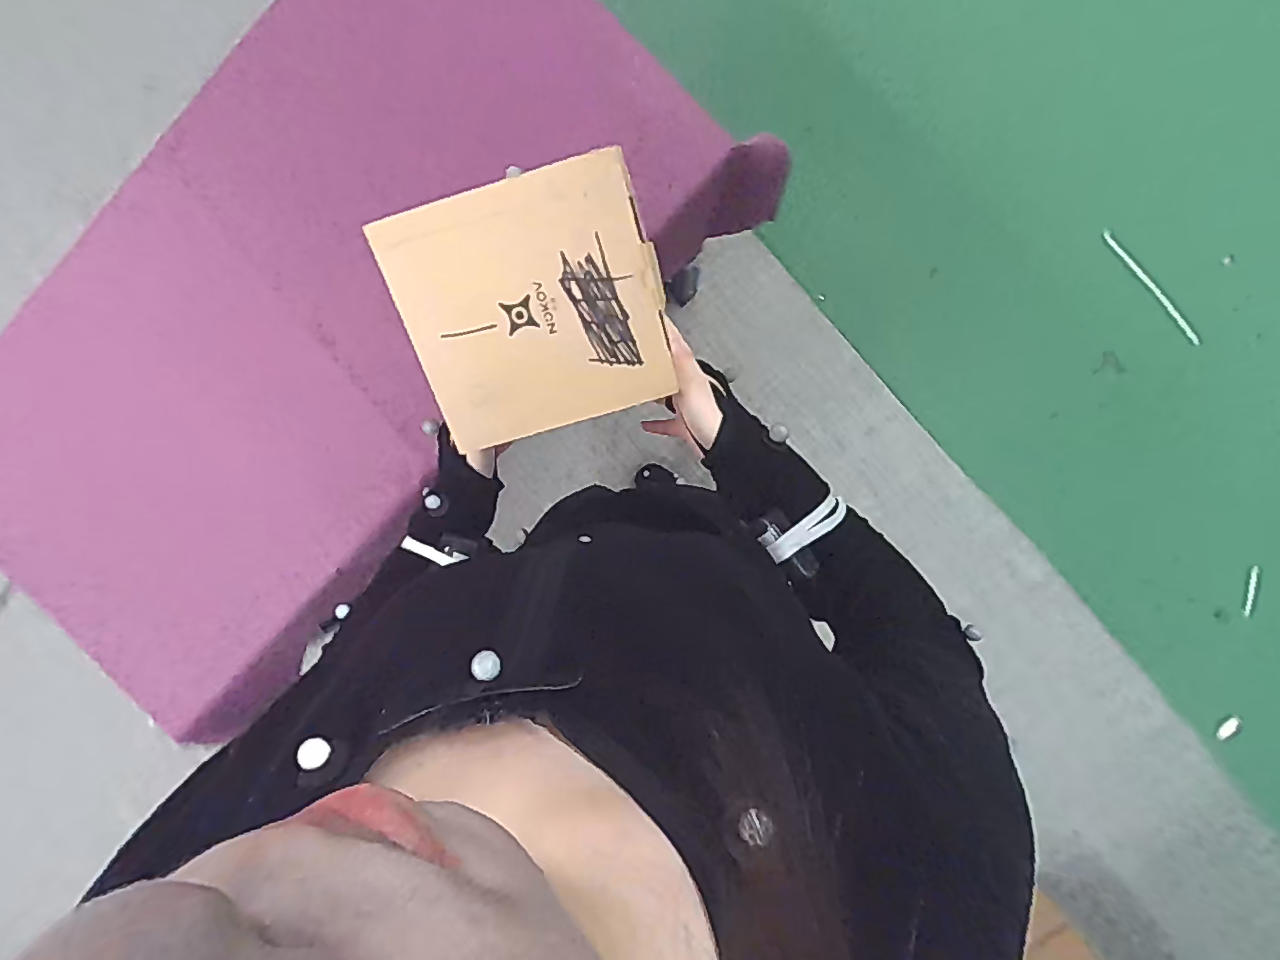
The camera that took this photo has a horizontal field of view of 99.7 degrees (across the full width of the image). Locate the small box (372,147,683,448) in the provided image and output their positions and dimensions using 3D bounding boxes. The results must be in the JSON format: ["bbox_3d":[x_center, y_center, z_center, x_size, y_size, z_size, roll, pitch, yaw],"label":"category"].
[{"bbox_3d":[-0.073,-0.146,0.444,0.179,0.176,0.168,-14,111,5],"label":"small box"}]
